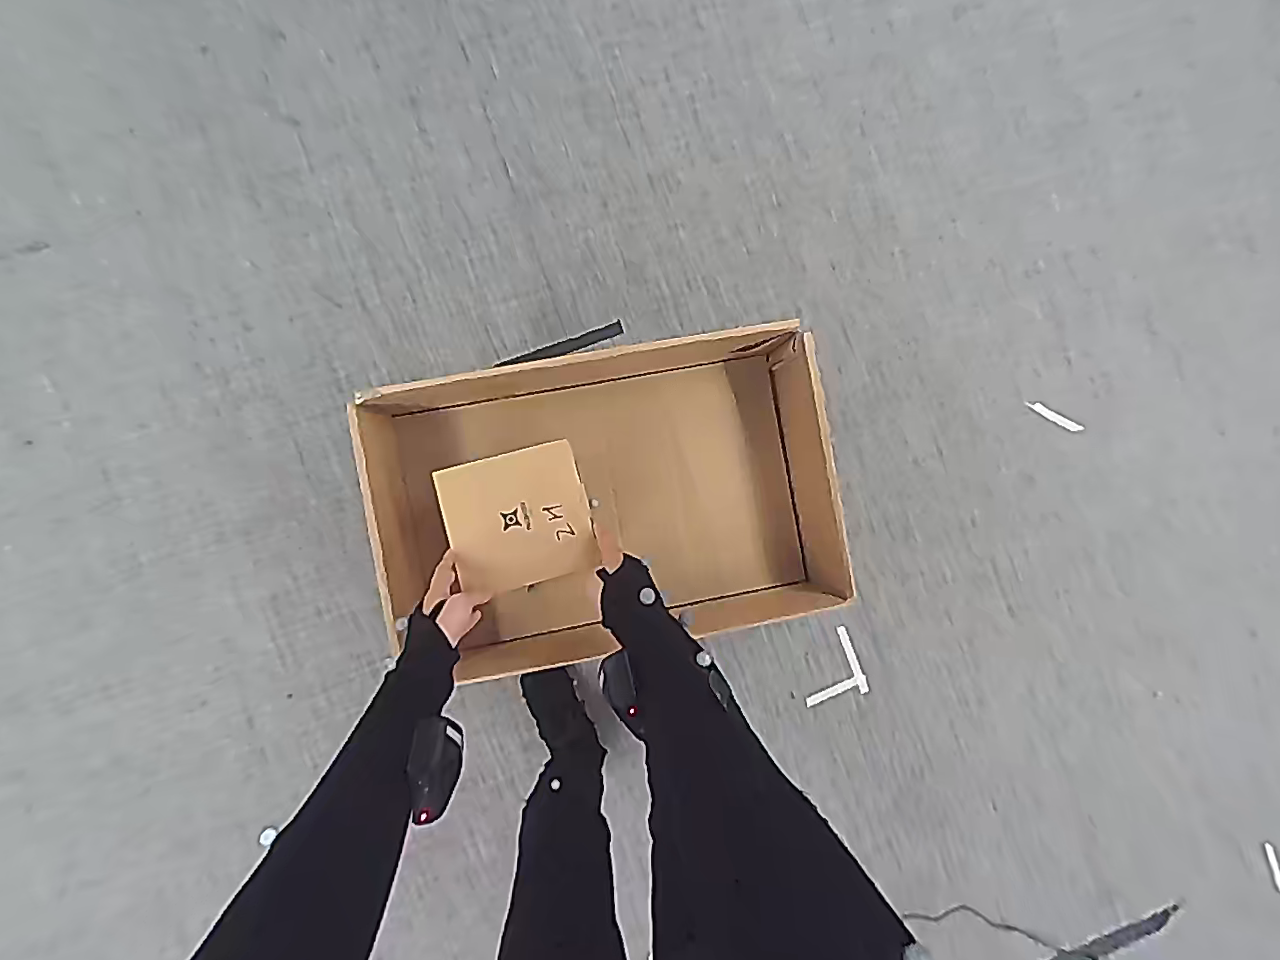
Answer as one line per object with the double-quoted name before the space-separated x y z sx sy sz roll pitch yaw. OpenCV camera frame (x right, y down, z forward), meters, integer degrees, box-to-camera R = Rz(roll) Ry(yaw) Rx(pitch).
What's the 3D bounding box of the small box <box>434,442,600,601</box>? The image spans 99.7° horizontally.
"small box" -0.156 0.057 0.742 0.179 0.176 0.168 -14 87 -7
